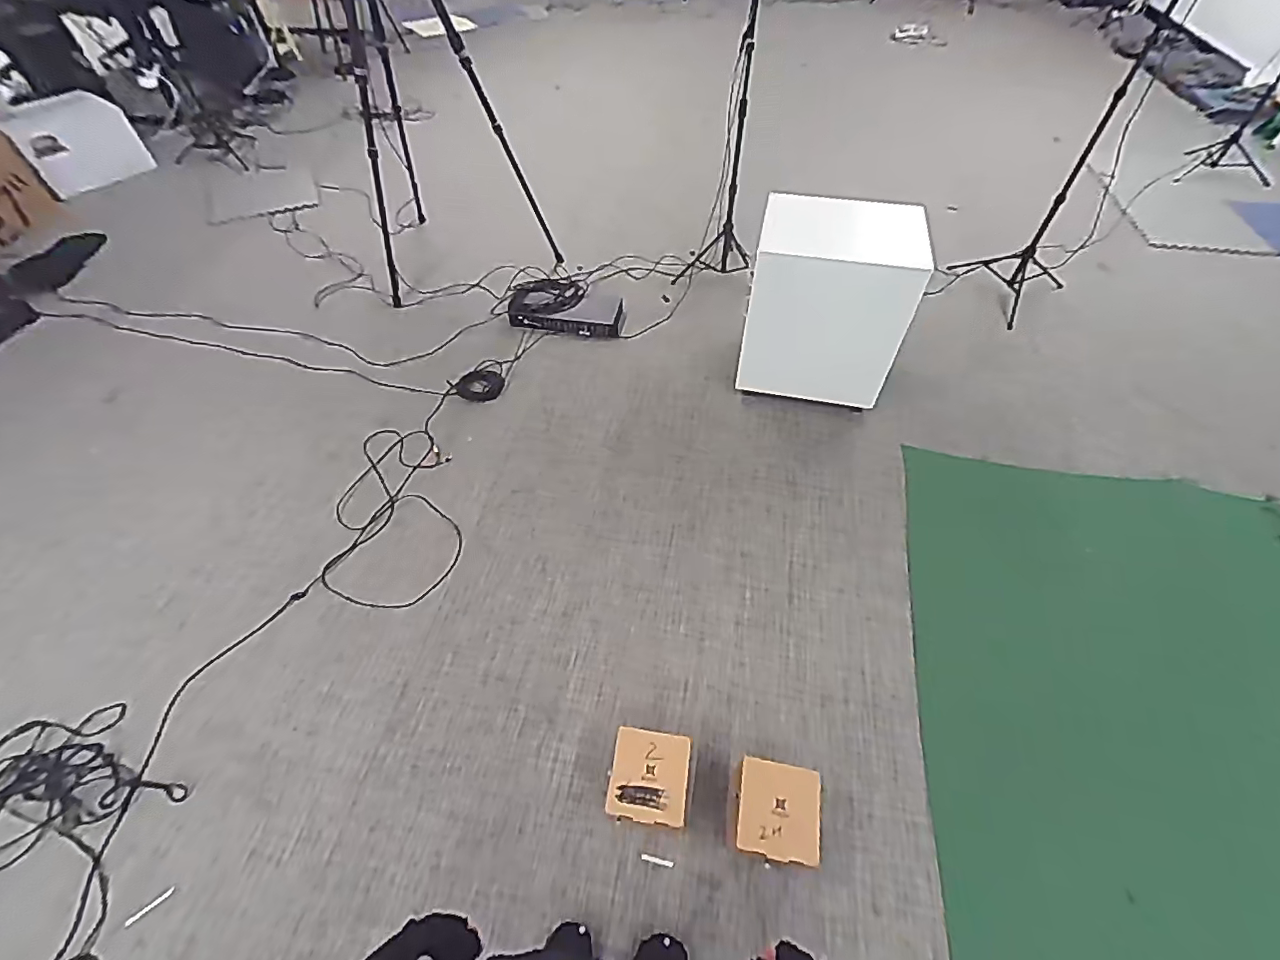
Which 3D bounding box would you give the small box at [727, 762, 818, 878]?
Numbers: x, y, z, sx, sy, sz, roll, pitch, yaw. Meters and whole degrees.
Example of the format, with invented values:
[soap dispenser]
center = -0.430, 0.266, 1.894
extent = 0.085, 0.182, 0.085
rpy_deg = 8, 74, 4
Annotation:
[small box]
center = 0.287, 0.748, 1.187
extent = 0.168, 0.176, 0.179
rpy_deg = 9, 52, 8
